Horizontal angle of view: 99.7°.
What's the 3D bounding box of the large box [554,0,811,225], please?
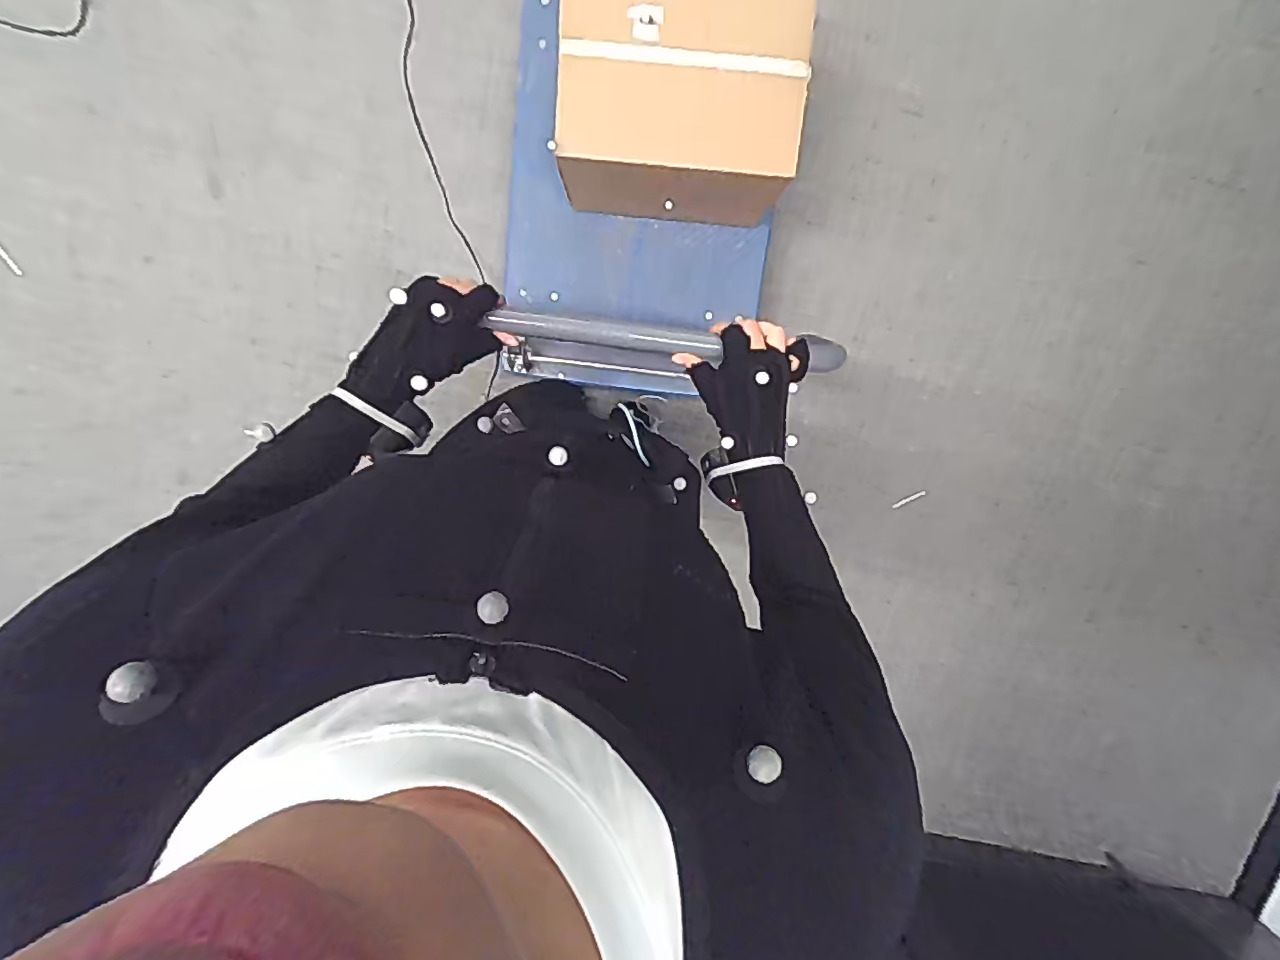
[{"bbox_3d":[0.066,-0.692,1.018,0.408,0.320,0.320,5,100,-1],"label":"large box"}]
